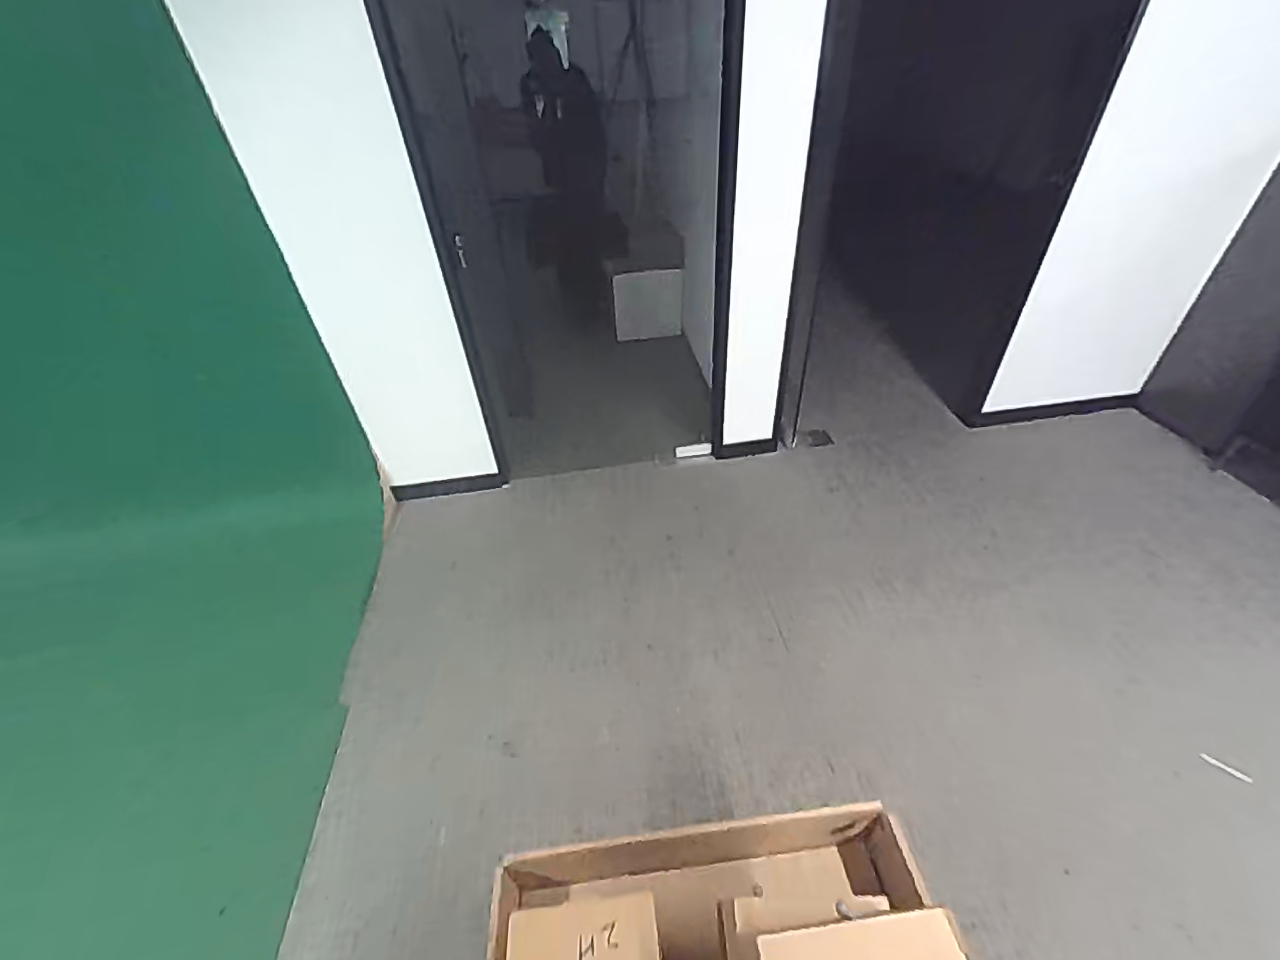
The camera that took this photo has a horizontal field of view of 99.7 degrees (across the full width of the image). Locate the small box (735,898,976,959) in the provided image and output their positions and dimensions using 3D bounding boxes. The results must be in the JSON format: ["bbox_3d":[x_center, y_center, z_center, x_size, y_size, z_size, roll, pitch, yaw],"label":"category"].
[{"bbox_3d":[0.193,0.479,0.472,0.179,0.176,0.168,-5,49,-3],"label":"small box"}]

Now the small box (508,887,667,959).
[{"bbox_3d":[-0.050,0.585,0.597,0.168,0.176,0.179,-6,40,-2],"label":"small box"}]
